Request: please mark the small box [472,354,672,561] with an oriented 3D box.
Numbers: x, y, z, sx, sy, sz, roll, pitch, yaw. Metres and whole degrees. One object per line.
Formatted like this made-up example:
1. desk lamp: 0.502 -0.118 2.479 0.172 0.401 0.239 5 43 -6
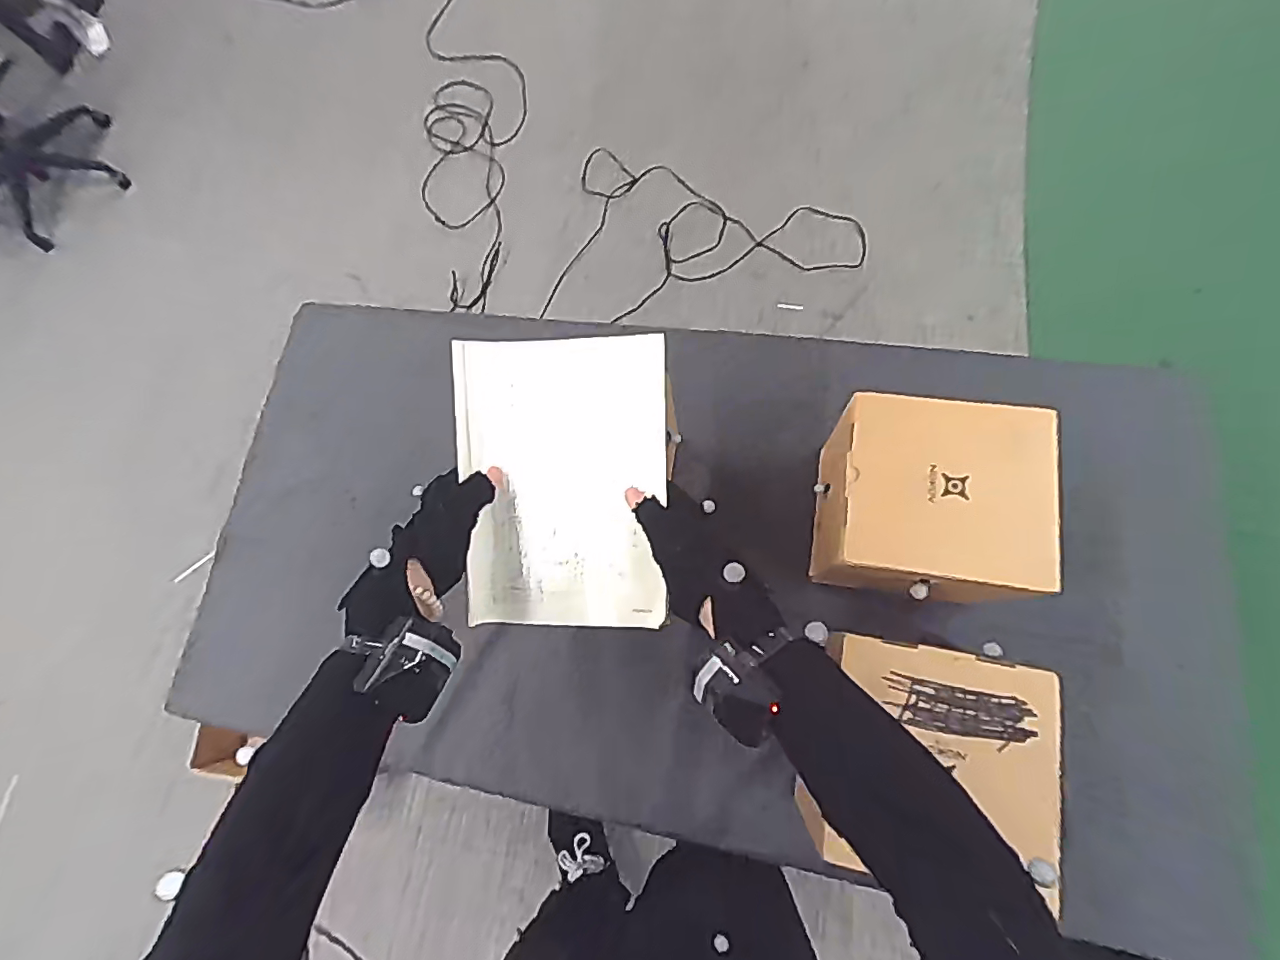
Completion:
1. small box: -0.059 -0.017 0.603 0.168 0.176 0.179 7 74 10
